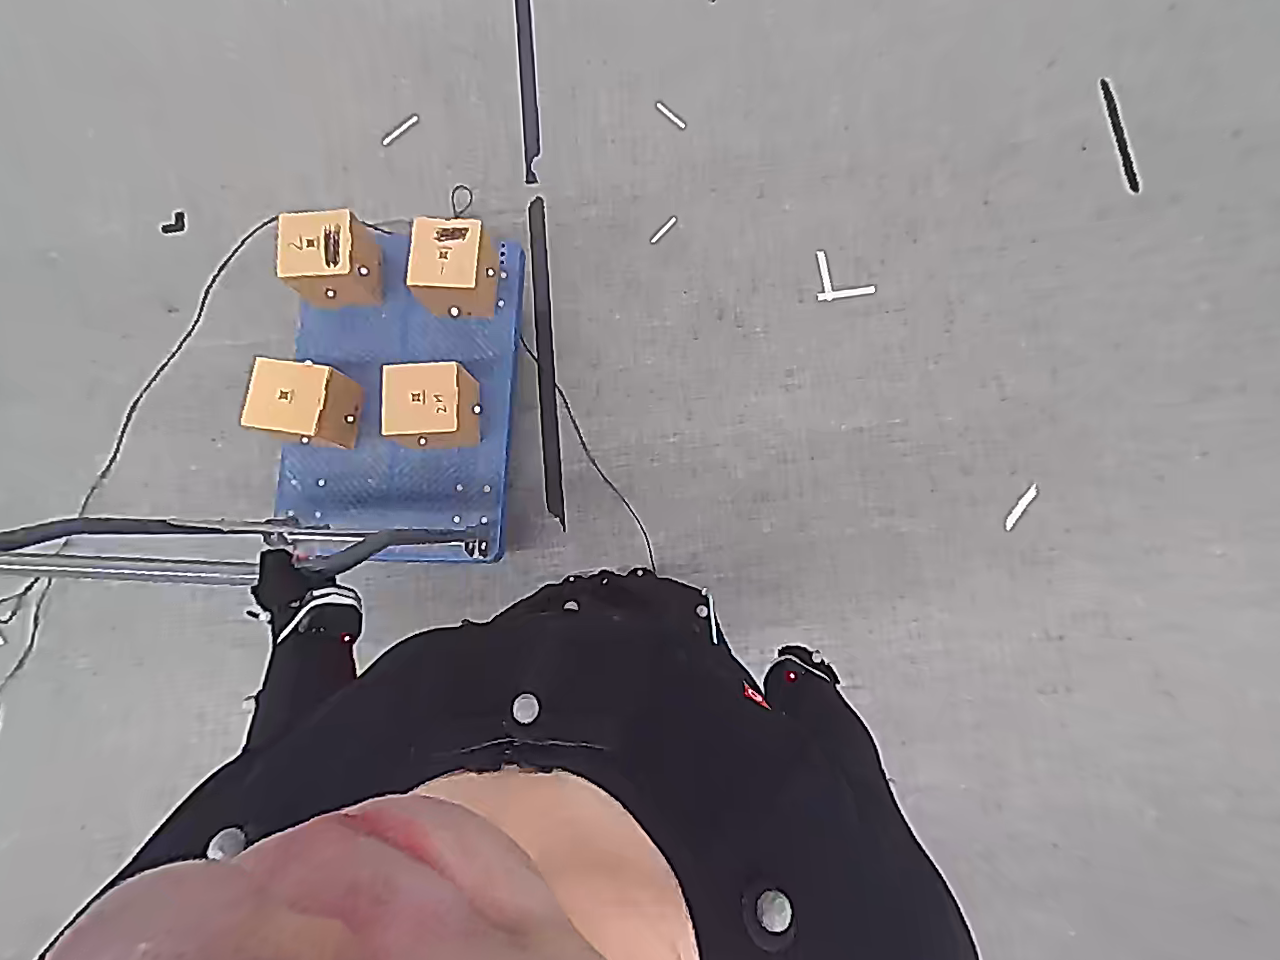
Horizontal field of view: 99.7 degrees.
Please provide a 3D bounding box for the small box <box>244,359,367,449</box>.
[{"bbox_3d":[-0.801,-0.178,1.312,0.179,0.176,0.168,7,81,0],"label":"small box"}]

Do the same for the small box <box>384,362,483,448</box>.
[{"bbox_3d":[-0.493,-0.174,1.307,0.179,0.176,0.168,-3,82,0],"label":"small box"}]

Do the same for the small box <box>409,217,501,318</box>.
[{"bbox_3d":[-0.456,-0.527,1.357,0.168,0.176,0.179,3,83,1],"label":"small box"}]
